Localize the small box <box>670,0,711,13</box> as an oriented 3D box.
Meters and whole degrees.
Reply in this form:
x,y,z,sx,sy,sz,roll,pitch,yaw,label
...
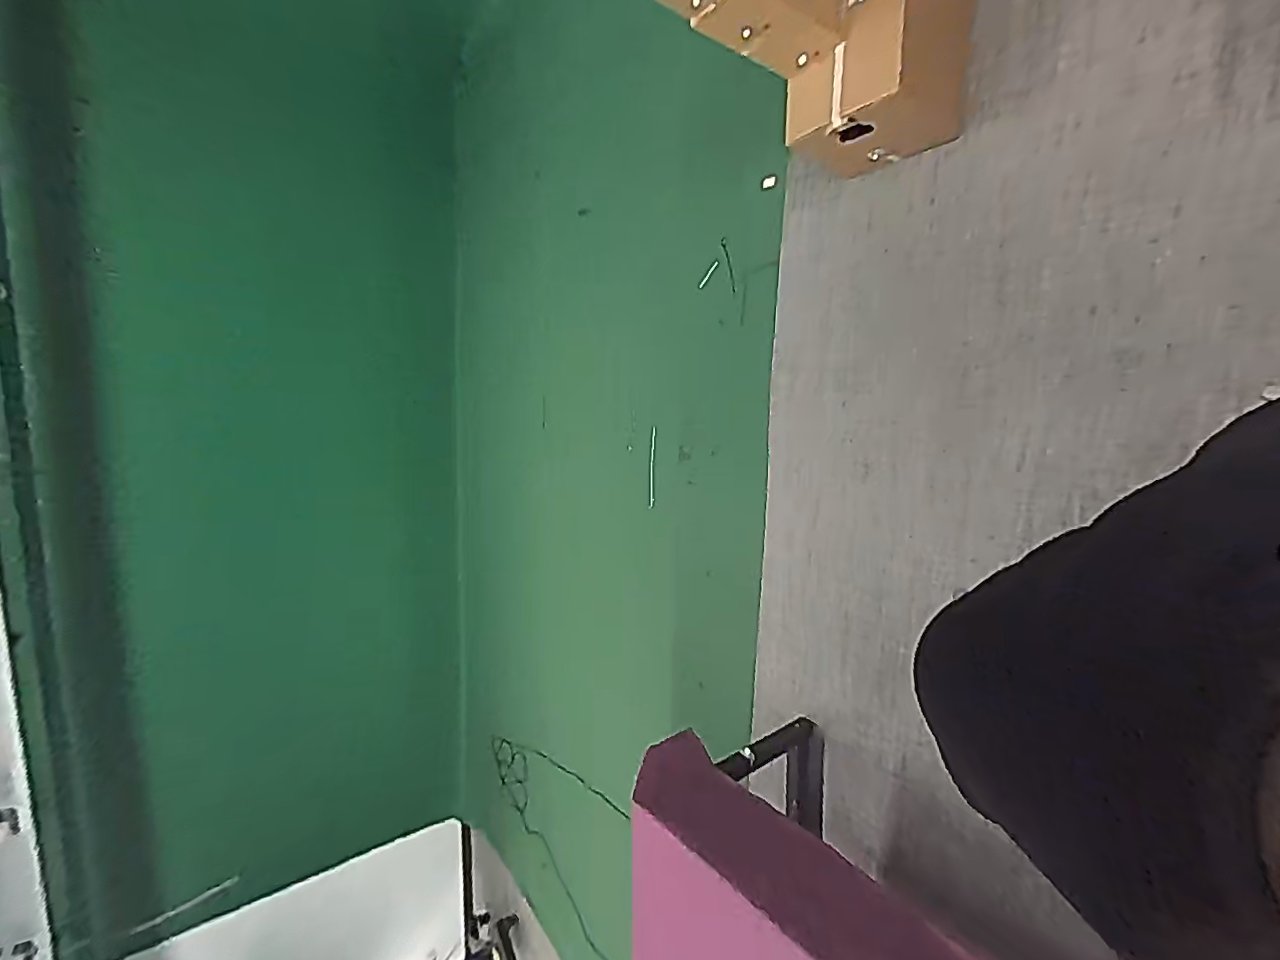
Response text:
x,y,z,sx,sy,sz,roll,pitch,yaw,label
0.100,-1.121,1.105,0.168,0.176,0.179,14,106,55,small box

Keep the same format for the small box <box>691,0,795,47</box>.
x,y,z,sx,sy,sz,roll,pitch,yaw,label
0.231,-1.125,1.202,0.168,0.176,0.179,10,103,55,small box

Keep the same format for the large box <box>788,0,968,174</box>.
x,y,z,sx,sy,sz,roll,pitch,yaw,label
0.607,-1.085,1.386,0.320,0.320,0.408,10,100,52,large box
